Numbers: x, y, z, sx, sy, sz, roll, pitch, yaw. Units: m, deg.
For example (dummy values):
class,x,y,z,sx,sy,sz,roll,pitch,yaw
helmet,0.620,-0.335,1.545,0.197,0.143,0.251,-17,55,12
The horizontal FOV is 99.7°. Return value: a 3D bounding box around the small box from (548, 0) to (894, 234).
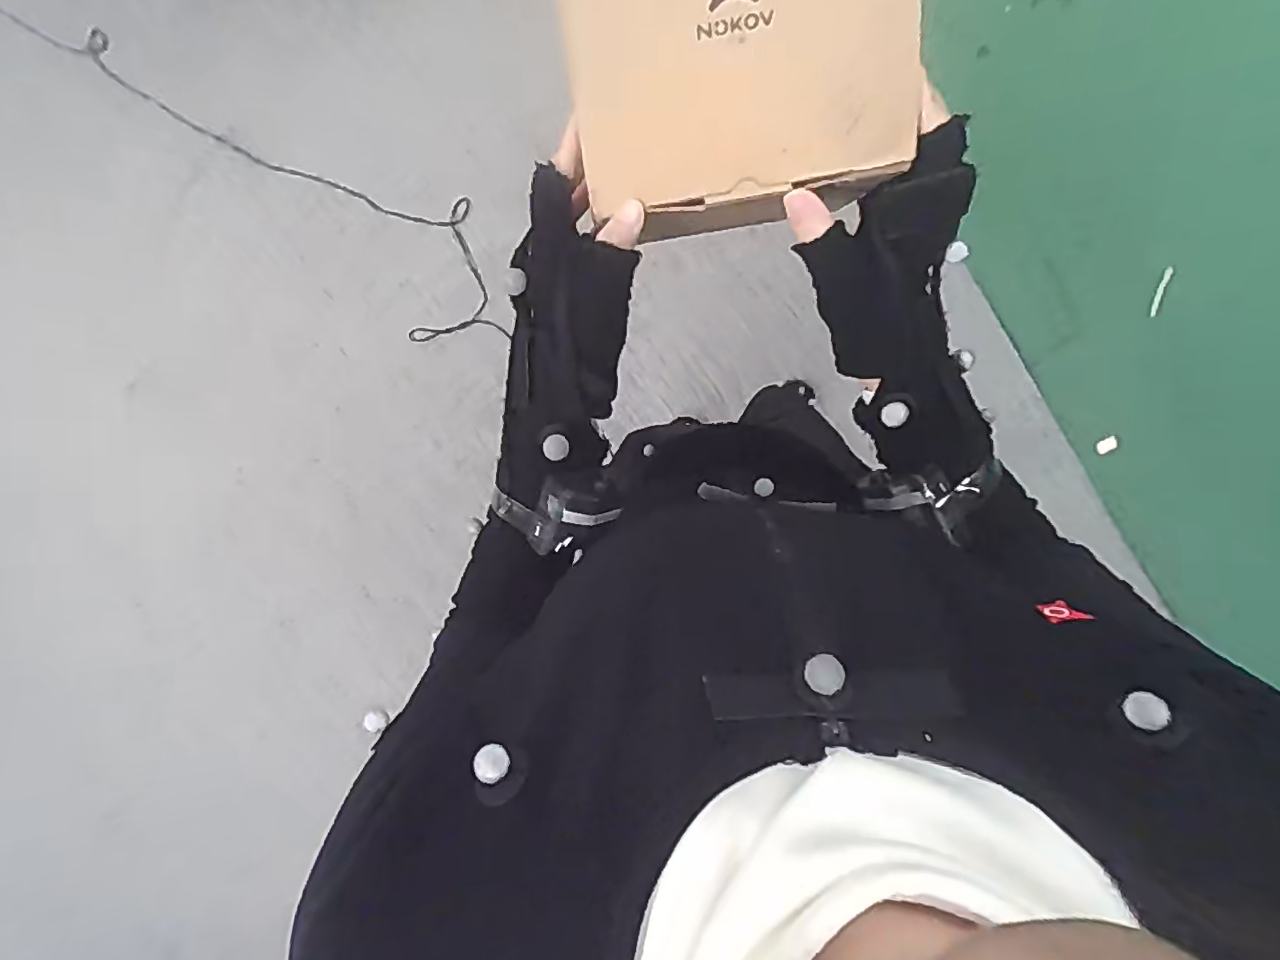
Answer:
class,x,y,z,sx,sy,sz,roll,pitch,yaw
small box,0.046,-0.260,0.334,0.168,0.176,0.179,-6,107,8
